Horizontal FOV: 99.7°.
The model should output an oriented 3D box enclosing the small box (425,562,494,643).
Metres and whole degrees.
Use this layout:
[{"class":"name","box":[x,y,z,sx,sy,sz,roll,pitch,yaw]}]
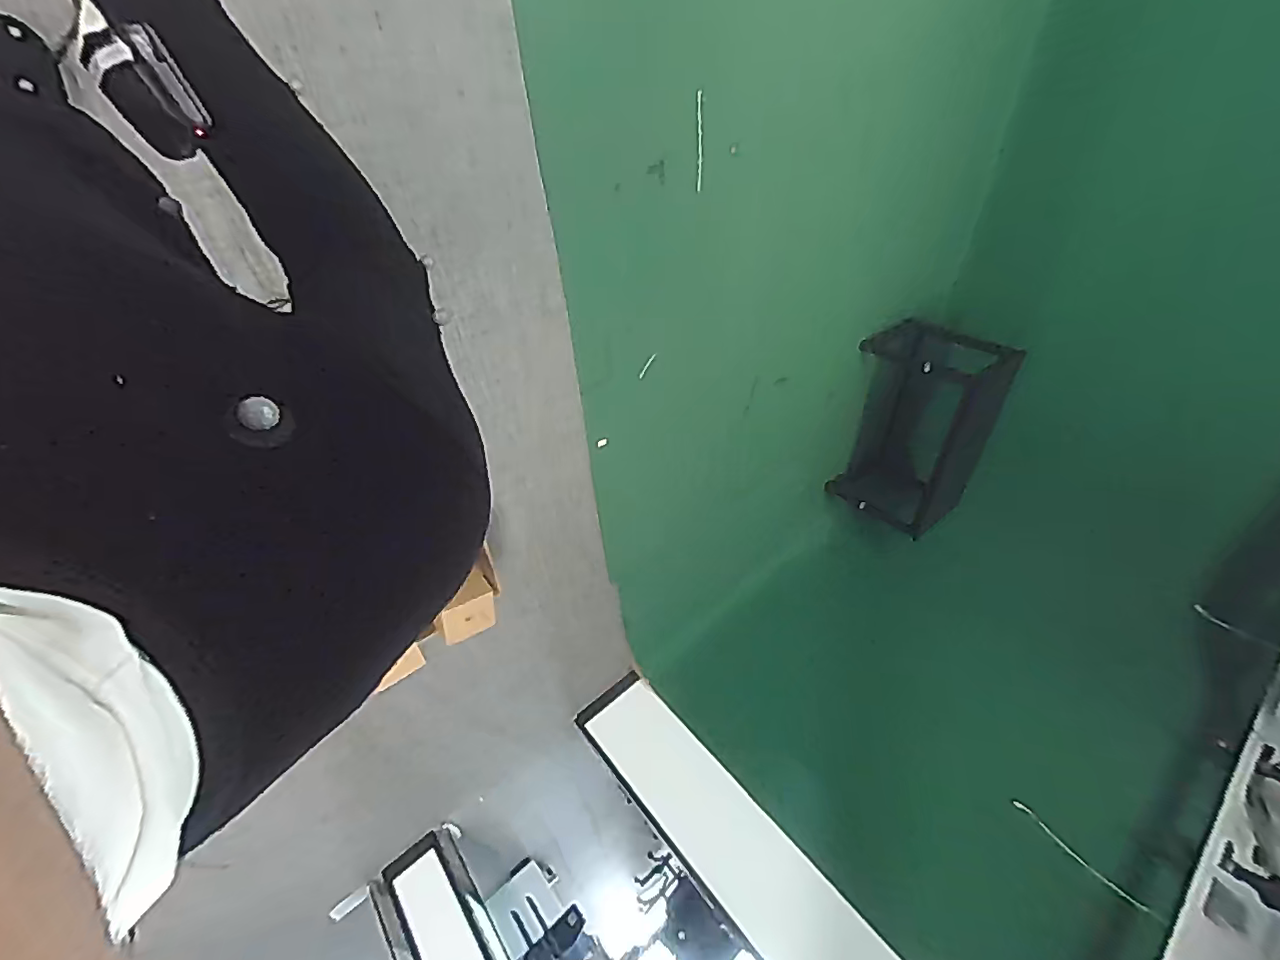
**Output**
[{"class":"small box","box":[-0.612,0.409,1.825,0.179,0.176,0.168,-21,133,-34]}]
